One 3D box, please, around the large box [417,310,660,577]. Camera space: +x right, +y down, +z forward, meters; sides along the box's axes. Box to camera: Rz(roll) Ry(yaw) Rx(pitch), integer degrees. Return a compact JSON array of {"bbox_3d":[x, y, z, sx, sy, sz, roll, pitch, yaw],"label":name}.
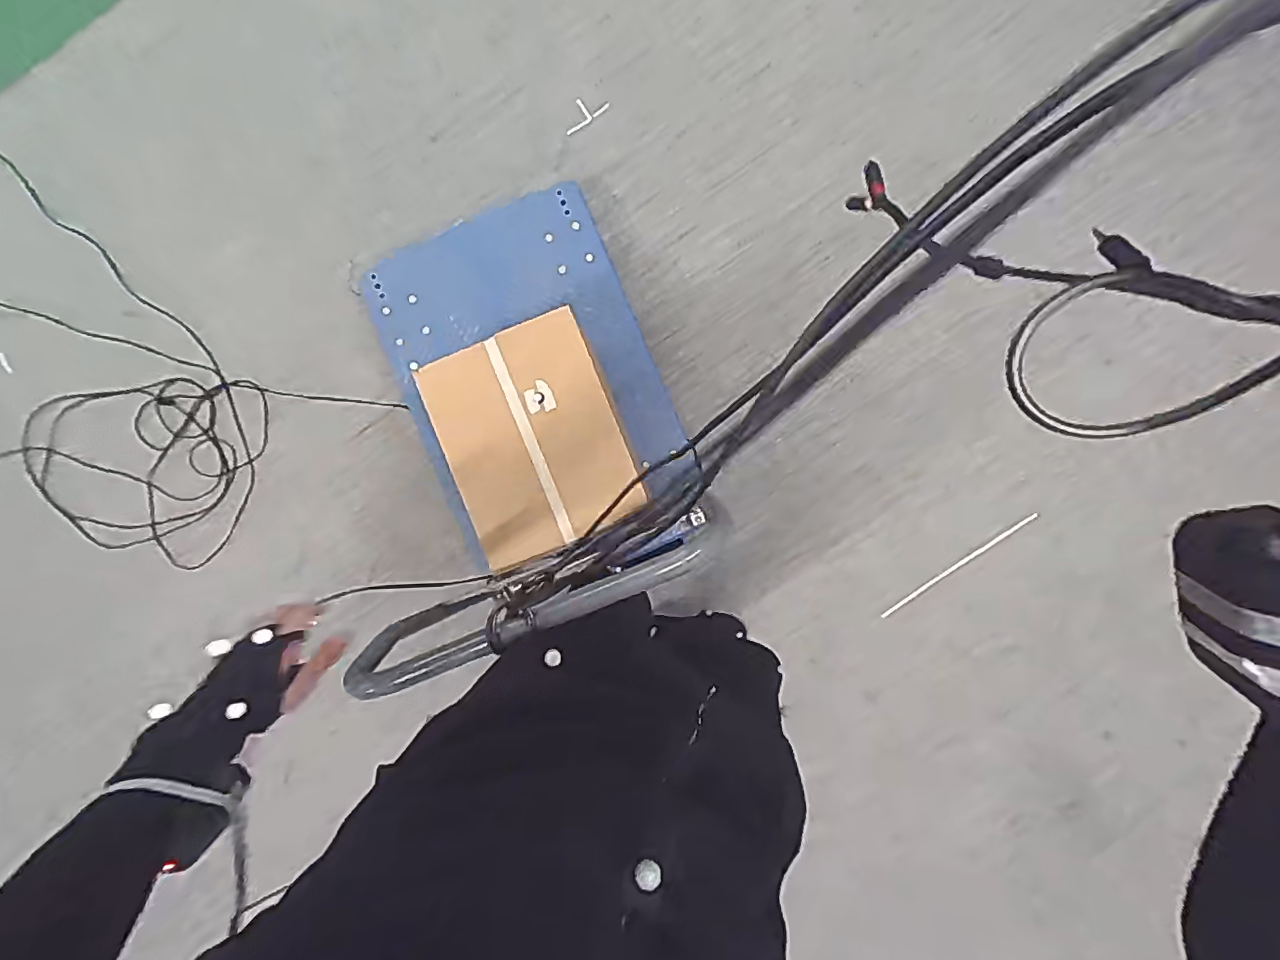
[{"bbox_3d":[-0.176,-0.063,1.107,0.320,0.320,0.408,-22,89,2],"label":"large box"}]
